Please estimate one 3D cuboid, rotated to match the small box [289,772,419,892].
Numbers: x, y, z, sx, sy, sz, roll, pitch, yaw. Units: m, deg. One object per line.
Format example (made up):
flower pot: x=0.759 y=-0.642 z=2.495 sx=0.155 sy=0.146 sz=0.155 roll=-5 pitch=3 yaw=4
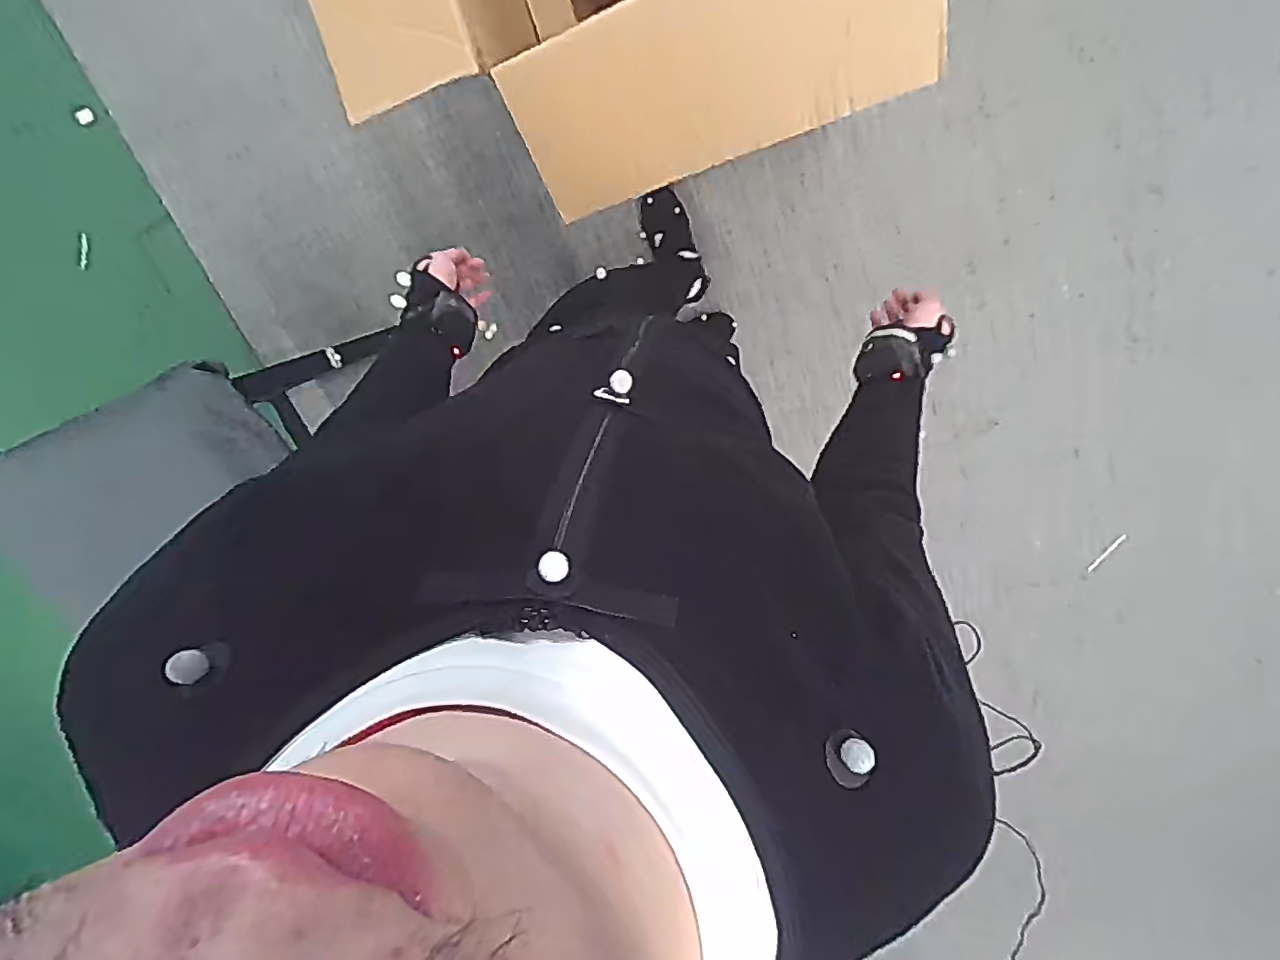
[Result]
small box: x=-0.633 y=0.793 z=1.230 sx=0.179 sy=0.176 sz=0.168 roll=-15 pitch=112 yaw=15
